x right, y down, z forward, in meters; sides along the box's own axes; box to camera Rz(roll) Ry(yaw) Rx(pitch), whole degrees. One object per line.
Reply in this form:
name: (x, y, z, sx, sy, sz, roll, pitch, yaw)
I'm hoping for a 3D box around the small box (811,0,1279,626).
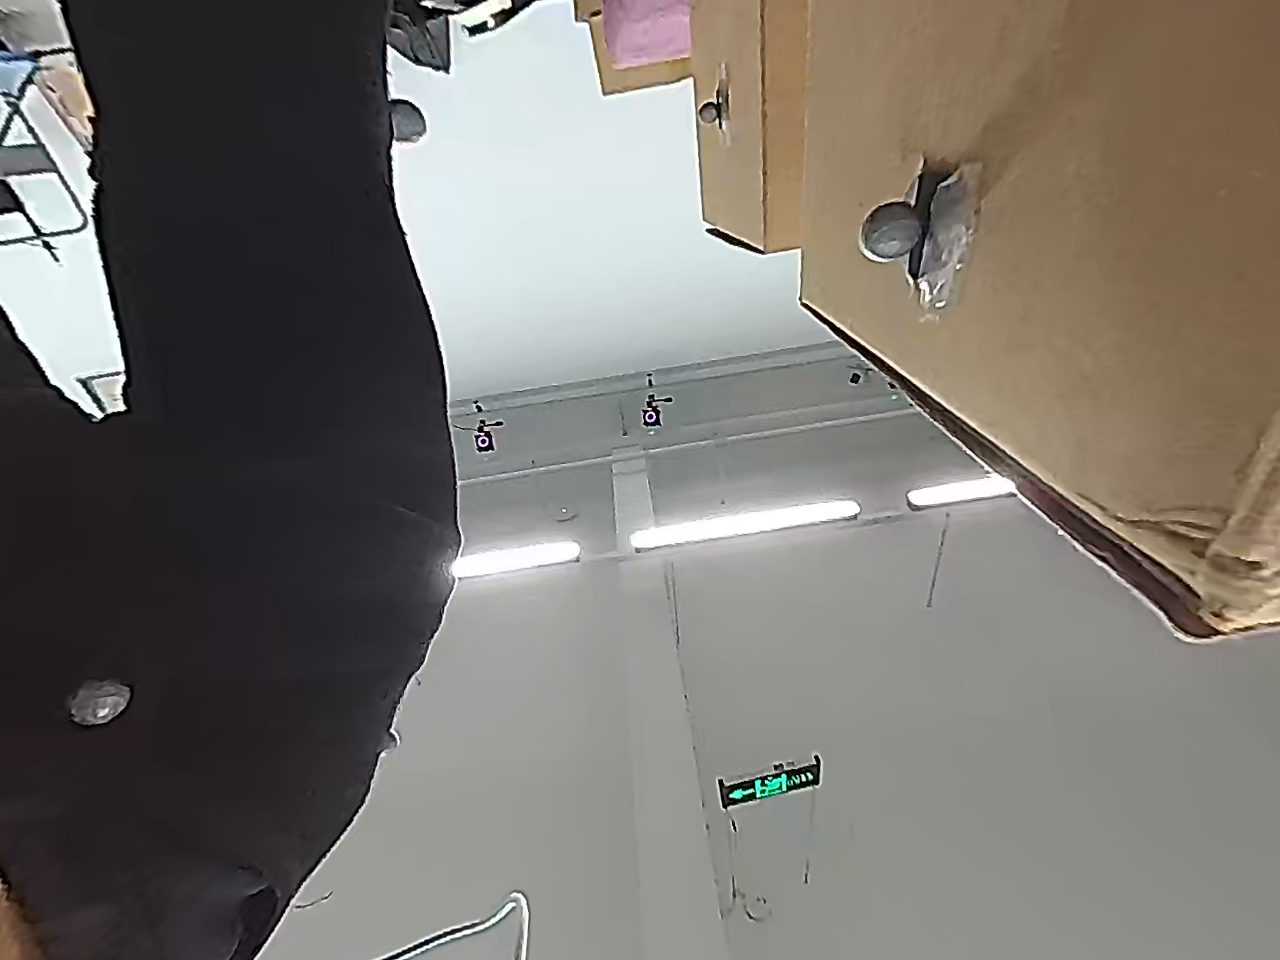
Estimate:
small box: (0.143, -0.104, 0.106, 0.168, 0.176, 0.179, -9, -147, 0)
